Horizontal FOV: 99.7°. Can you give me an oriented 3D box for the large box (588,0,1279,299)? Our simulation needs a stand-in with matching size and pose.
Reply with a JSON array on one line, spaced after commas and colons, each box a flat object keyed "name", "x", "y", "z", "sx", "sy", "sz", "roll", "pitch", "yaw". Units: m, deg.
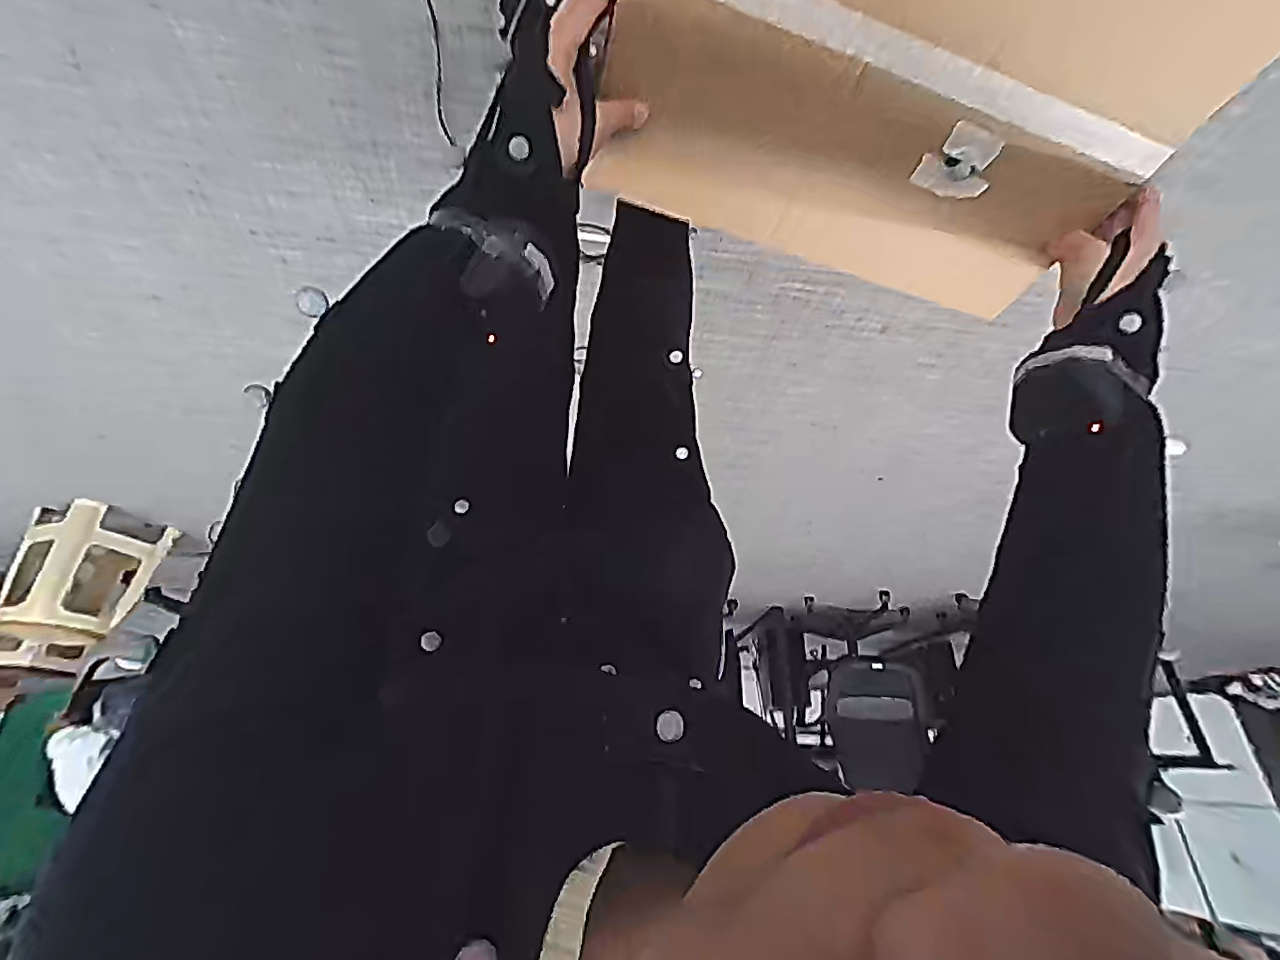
[{"name": "large box", "x": 0.193, "y": -0.414, "z": 0.440, "sx": 0.408, "sy": 0.320, "sz": 0.320, "roll": 12, "pitch": 147, "yaw": -12}]
